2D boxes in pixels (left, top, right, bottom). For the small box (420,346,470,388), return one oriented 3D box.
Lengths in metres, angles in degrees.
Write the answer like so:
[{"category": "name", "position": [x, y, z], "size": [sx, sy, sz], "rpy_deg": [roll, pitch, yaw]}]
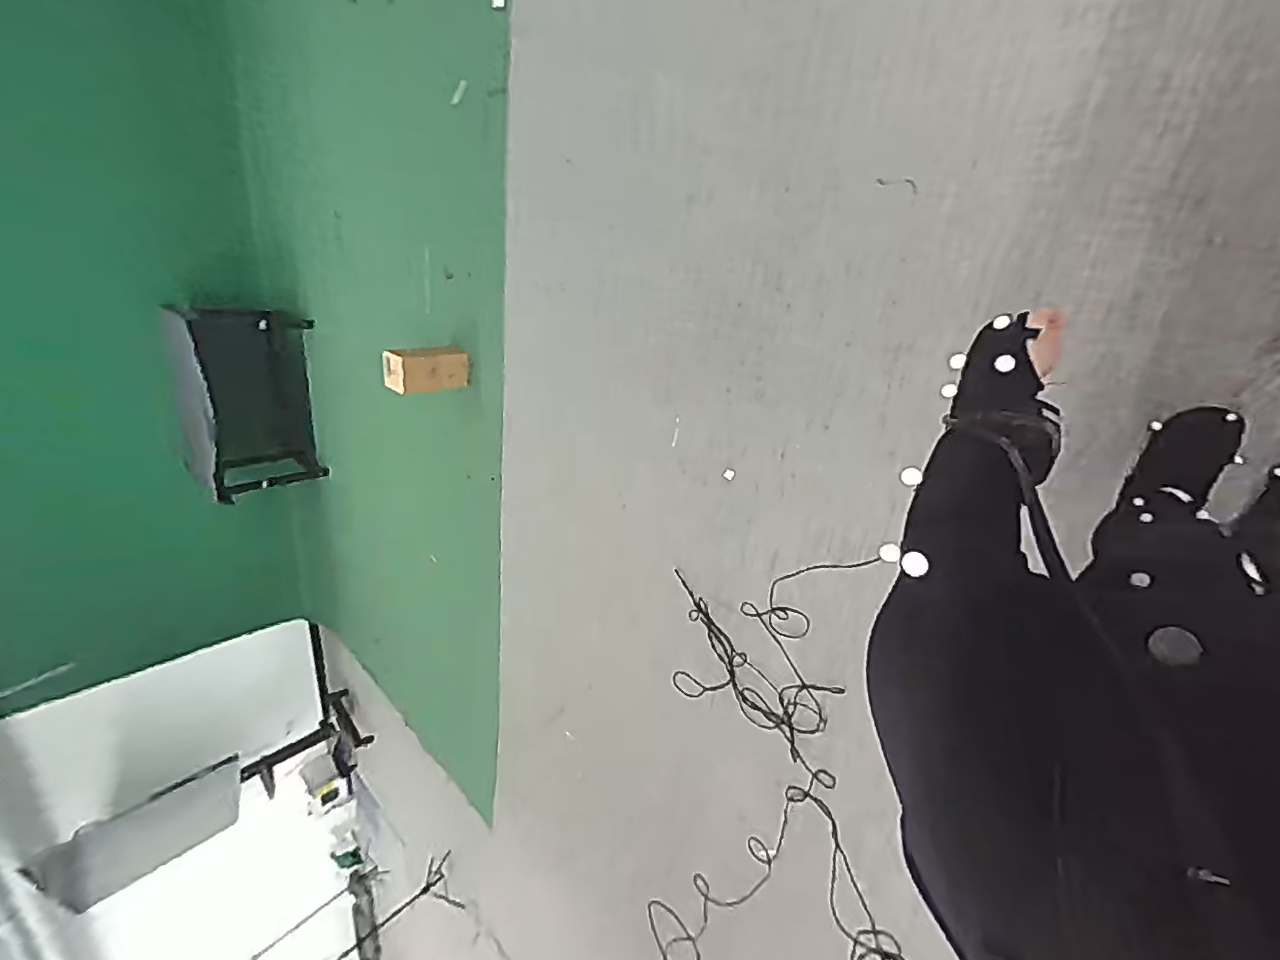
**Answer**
[{"category": "small box", "position": [-0.934, -0.550, 2.604], "size": [0.179, 0.176, 0.168], "rpy_deg": [26, 119, 36]}]
